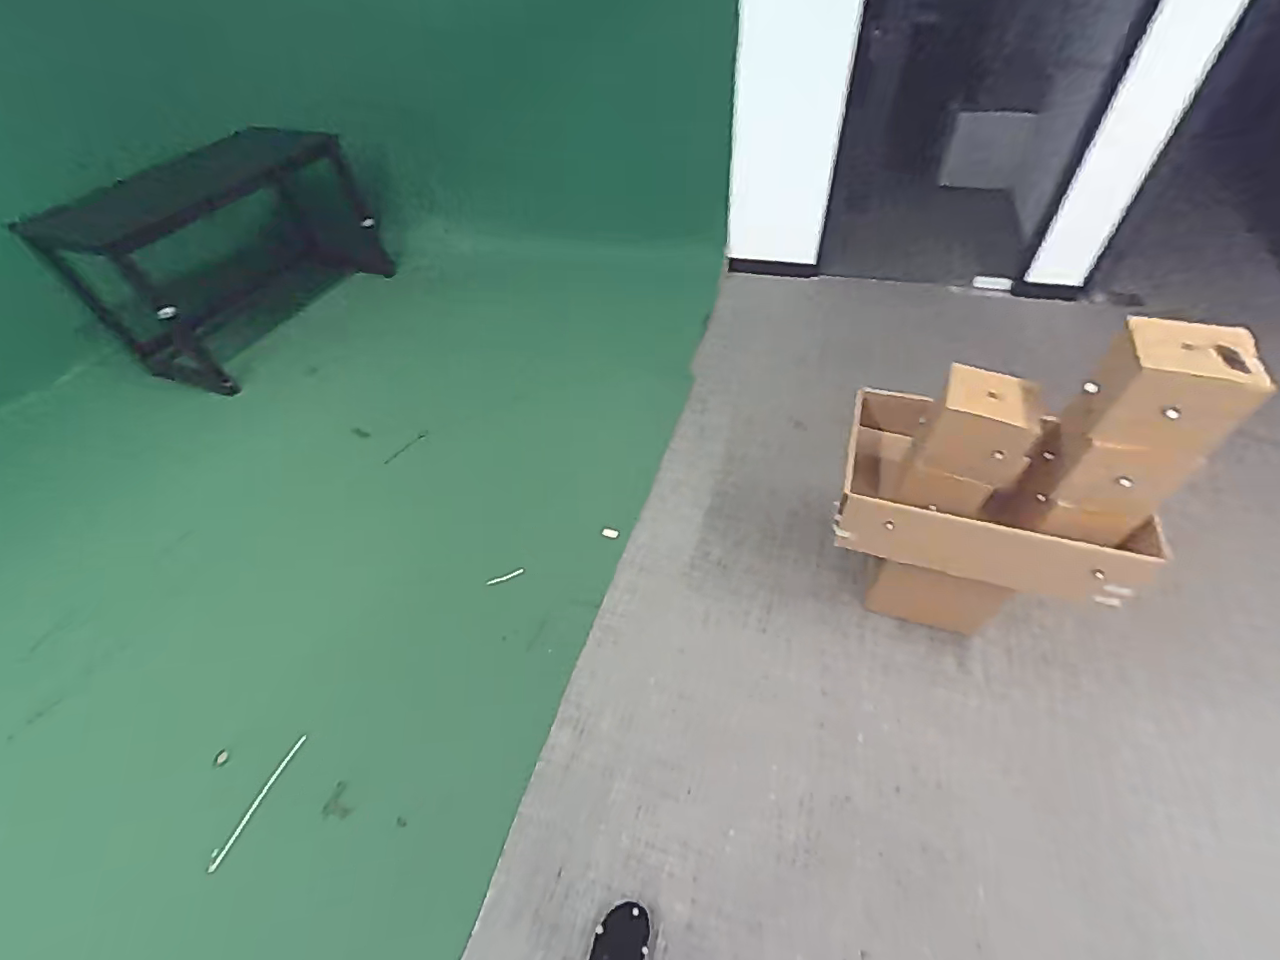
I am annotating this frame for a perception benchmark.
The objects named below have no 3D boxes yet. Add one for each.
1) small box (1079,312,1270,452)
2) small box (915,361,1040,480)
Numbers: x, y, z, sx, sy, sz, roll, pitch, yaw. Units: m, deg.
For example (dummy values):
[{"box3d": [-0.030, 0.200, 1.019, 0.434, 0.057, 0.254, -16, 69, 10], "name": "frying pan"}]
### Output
[{"box3d": [0.938, -0.173, 0.971, 0.179, 0.176, 0.168, 14, 52, 18], "name": "small box"}, {"box3d": [0.724, -0.124, 1.167, 0.179, 0.176, 0.168, 19, 52, 17], "name": "small box"}]
